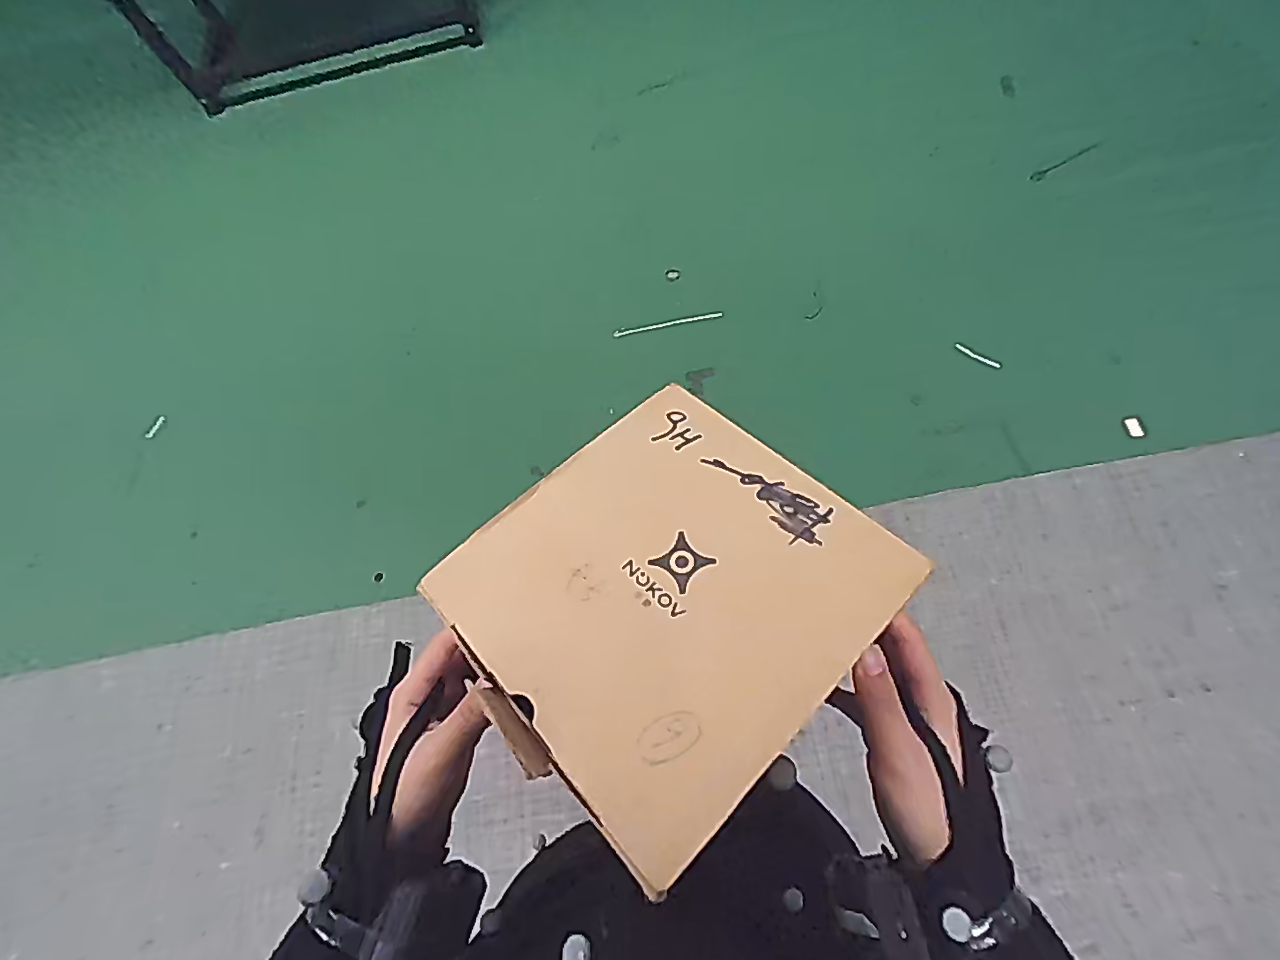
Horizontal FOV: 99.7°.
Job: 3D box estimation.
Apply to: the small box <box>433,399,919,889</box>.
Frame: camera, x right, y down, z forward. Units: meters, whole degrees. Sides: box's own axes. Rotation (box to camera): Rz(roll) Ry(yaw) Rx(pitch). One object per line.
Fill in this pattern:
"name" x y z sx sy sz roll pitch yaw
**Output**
"small box" 0.021 0.094 0.321 0.179 0.176 0.168 -40 62 -19
